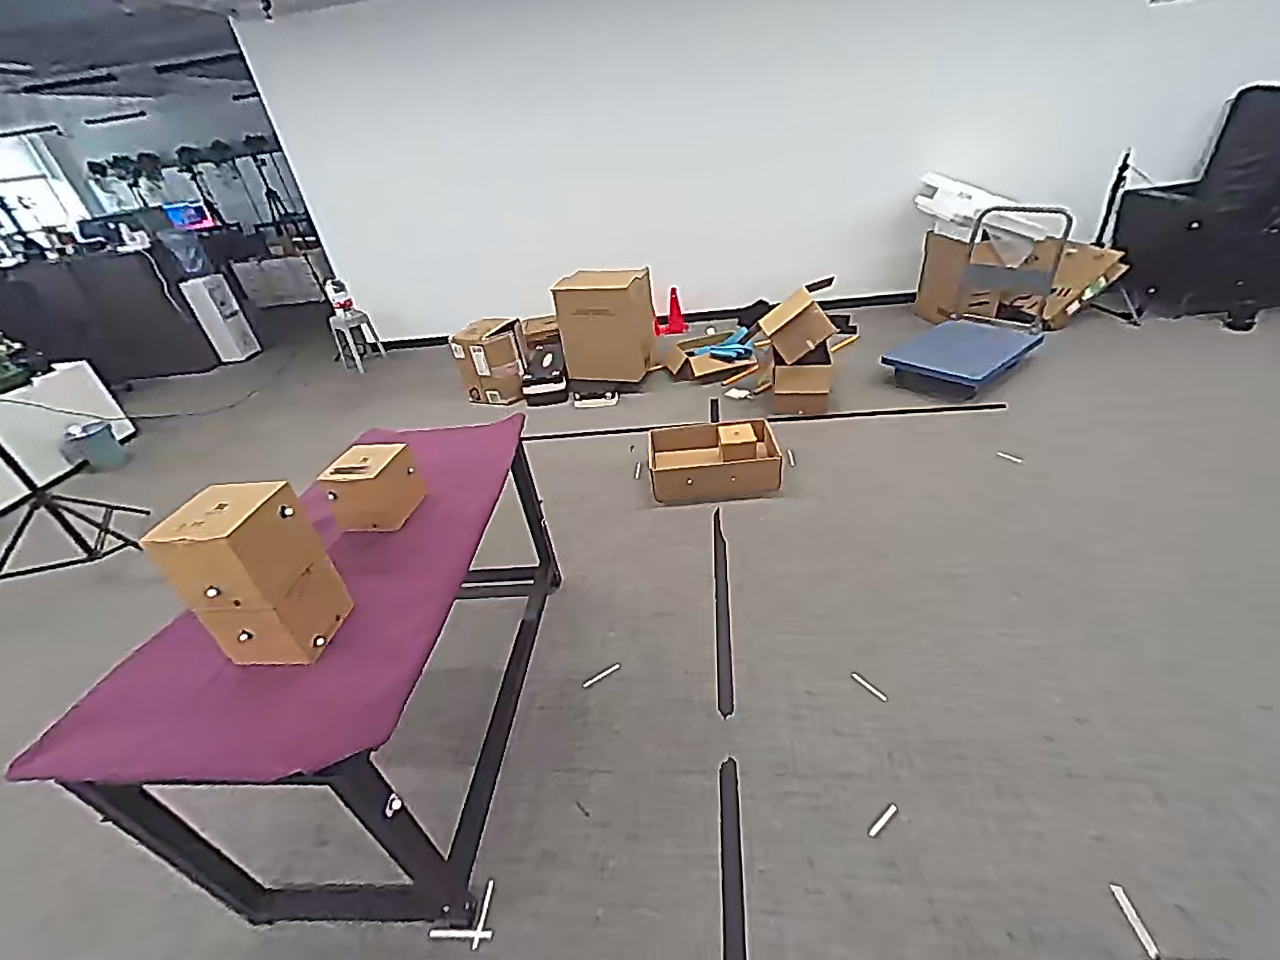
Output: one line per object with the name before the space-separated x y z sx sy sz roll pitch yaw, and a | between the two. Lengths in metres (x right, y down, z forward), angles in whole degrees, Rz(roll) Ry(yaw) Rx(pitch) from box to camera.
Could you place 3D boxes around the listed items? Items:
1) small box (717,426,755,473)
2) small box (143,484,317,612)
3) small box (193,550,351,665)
small box | 0.479 -0.152 2.703 0.168 0.176 0.179 -6 34 4
small box | -0.744 0.125 1.013 0.168 0.176 0.179 -4 33 7
small box | -0.734 0.261 1.106 0.179 0.176 0.168 -3 33 7
